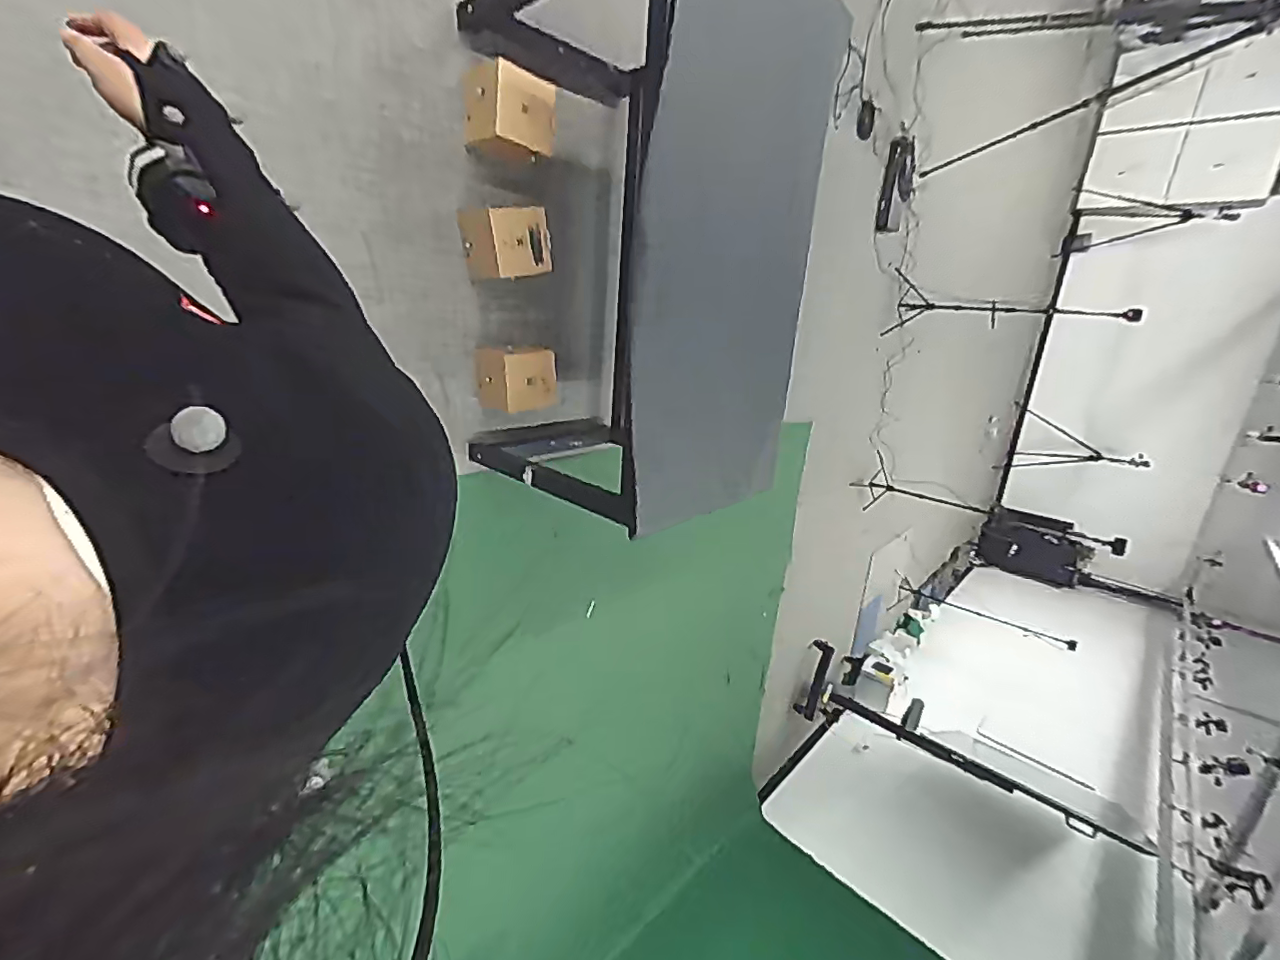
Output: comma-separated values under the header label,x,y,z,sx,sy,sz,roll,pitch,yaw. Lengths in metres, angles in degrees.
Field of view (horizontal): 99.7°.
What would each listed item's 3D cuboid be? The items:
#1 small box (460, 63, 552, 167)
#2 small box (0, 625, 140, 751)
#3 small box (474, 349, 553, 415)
label,x,y,z,sx,sy,sz,roll,pitch,yaw
small box,-0.357,-0.946,1.422,0.179,0.176,0.168,-9,110,-47
small box,-1.137,0.401,1.053,0.179,0.176,0.168,38,76,-49
small box,-0.386,-0.300,1.630,0.179,0.176,0.168,-20,119,-43
